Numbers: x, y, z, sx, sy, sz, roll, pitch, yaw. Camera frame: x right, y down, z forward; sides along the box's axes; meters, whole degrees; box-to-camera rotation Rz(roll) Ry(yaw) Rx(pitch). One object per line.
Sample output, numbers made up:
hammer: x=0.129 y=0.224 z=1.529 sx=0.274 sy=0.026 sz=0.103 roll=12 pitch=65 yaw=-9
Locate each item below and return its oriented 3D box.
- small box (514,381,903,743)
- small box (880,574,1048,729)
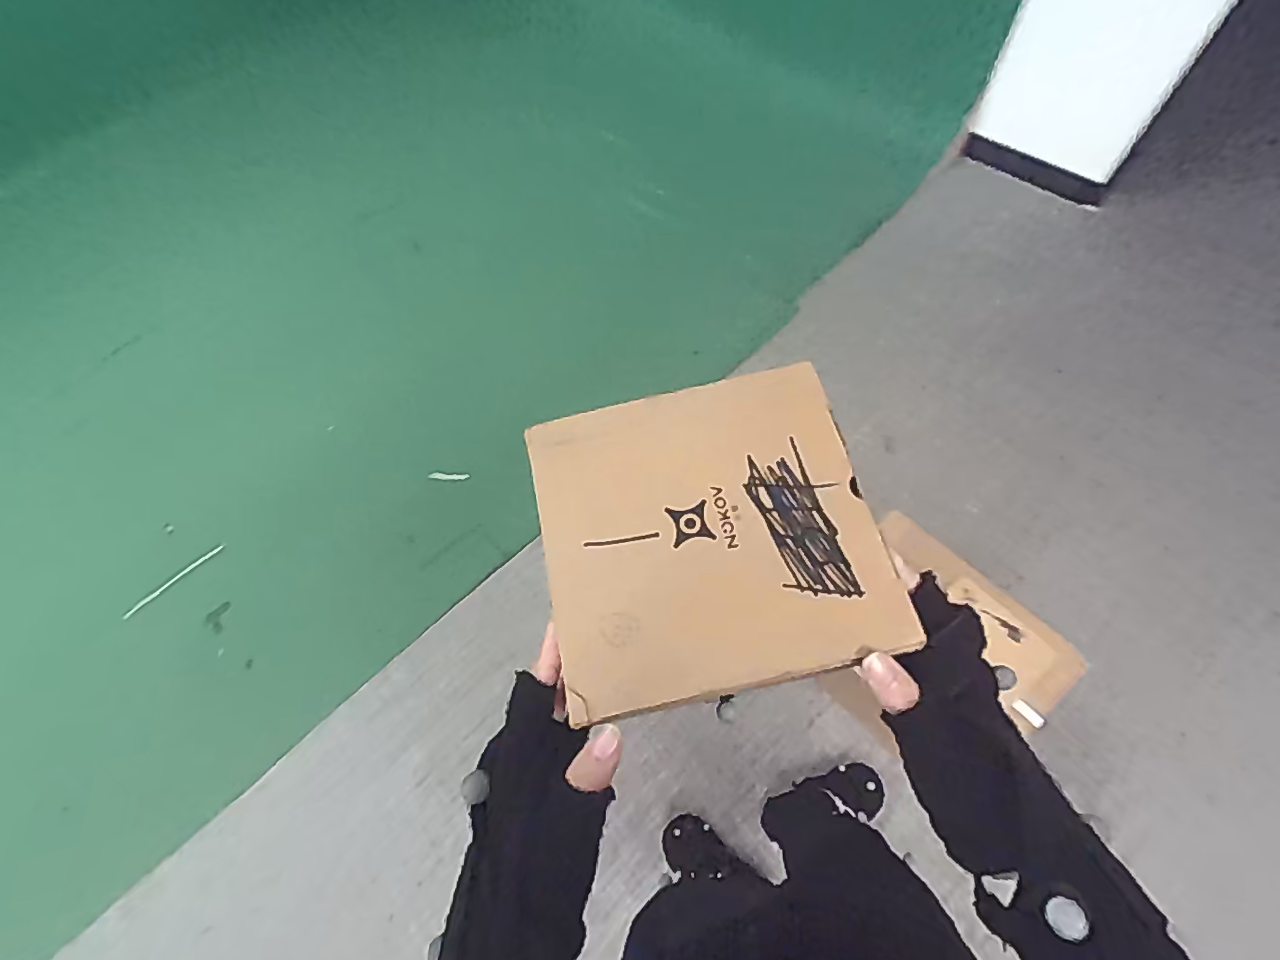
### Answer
small box: x=0.031 y=0.062 z=0.360 sx=0.179 sy=0.176 sz=0.168 roll=-13 pitch=68 yaw=-1
small box: x=0.510 y=0.290 z=0.900 sx=0.179 sy=0.176 sz=0.168 roll=-39 pitch=67 yaw=-10
